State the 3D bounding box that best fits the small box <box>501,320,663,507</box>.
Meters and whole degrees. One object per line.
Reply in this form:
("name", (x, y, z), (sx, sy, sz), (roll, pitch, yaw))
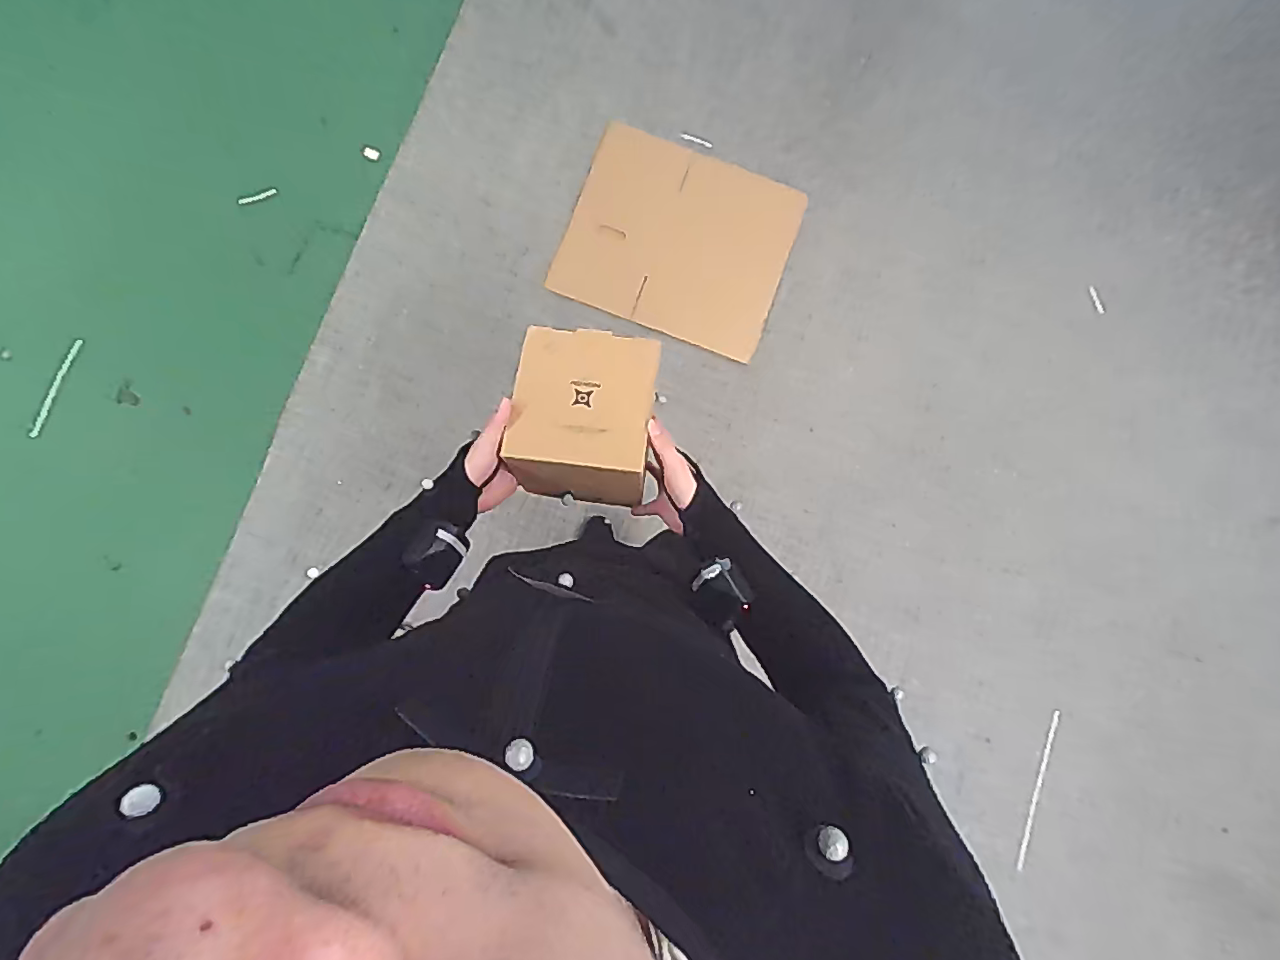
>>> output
("small box", (-0.066, -0.078, 0.704), (0.168, 0.176, 0.179), (7, 73, 2))
